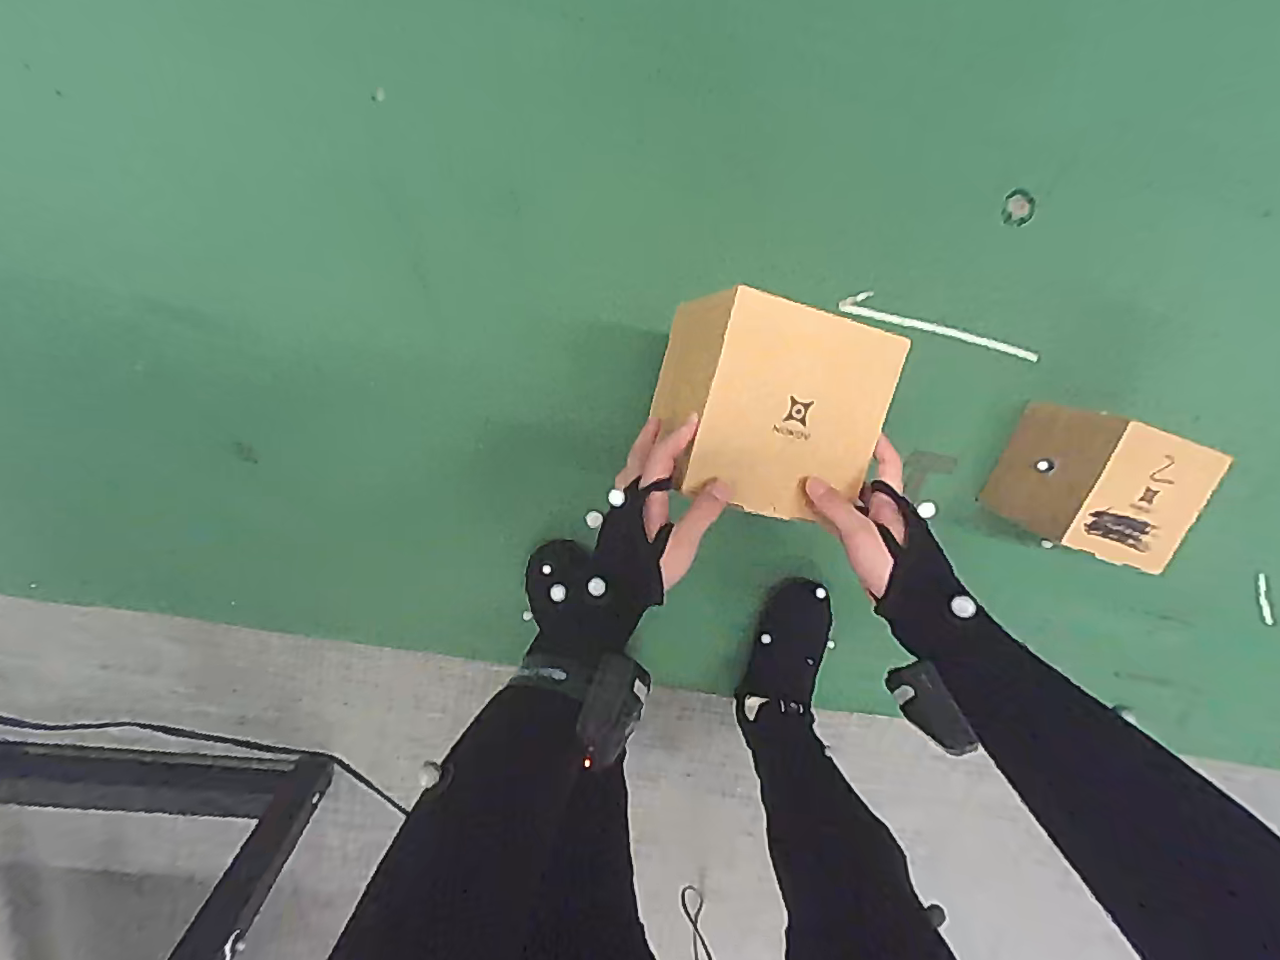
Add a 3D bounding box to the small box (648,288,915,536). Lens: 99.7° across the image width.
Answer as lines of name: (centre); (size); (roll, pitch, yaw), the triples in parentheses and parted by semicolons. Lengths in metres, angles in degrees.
small box: (0.117, -0.066, 0.520); (0.168, 0.176, 0.179); (12, 100, -15)
